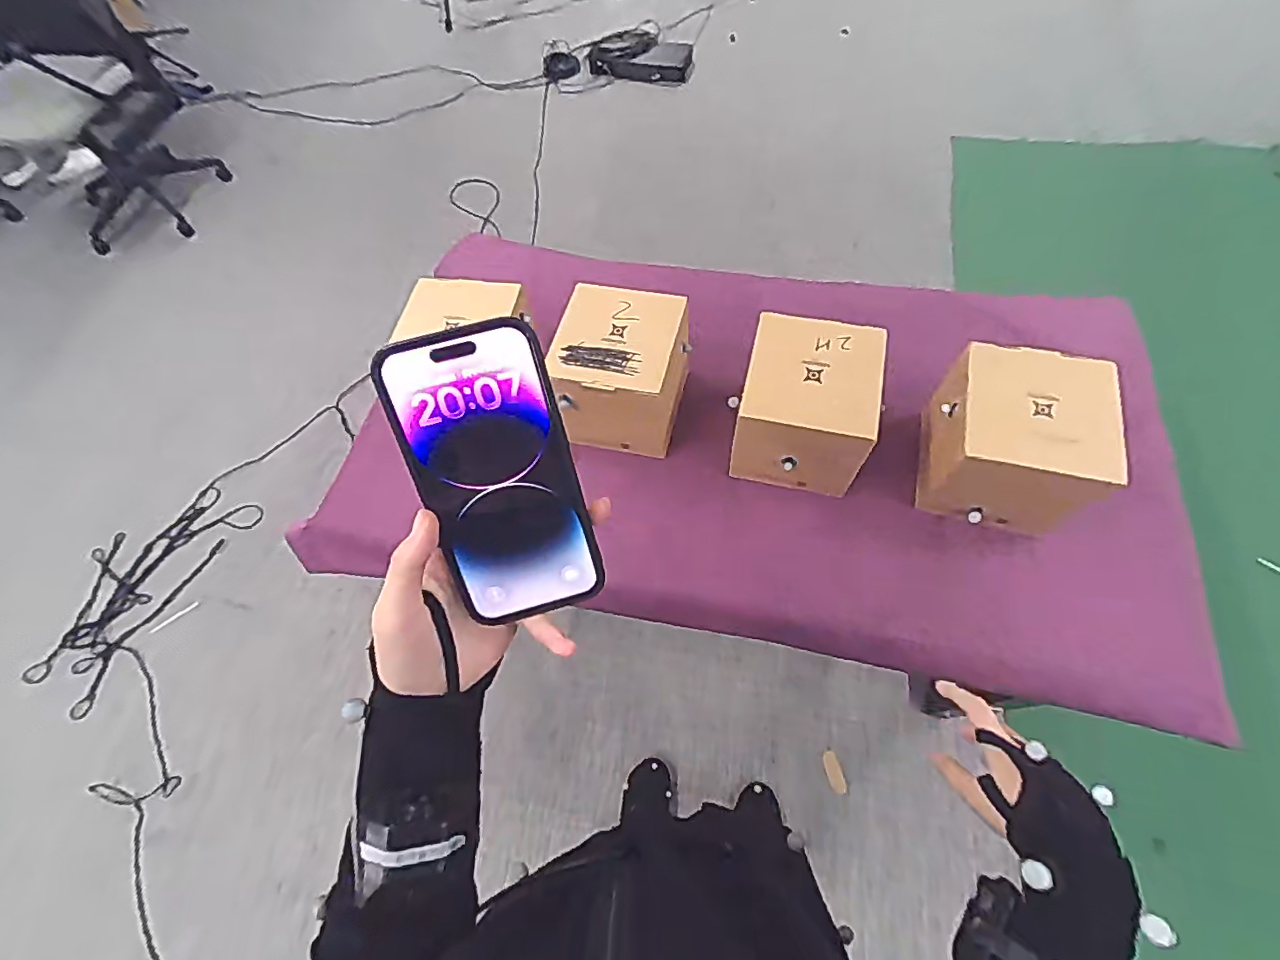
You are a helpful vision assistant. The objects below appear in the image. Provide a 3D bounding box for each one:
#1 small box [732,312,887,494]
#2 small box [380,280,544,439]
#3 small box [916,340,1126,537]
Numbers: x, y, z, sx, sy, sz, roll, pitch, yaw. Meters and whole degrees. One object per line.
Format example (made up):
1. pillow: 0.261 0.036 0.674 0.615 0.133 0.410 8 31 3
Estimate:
1. small box: 0.226 -0.100 0.752 0.168 0.176 0.179 12 64 11
2. small box: -0.260 -0.182 0.840 0.168 0.176 0.179 6 63 9
3. small box: 0.478 -0.050 0.704 0.168 0.176 0.179 13 65 13
